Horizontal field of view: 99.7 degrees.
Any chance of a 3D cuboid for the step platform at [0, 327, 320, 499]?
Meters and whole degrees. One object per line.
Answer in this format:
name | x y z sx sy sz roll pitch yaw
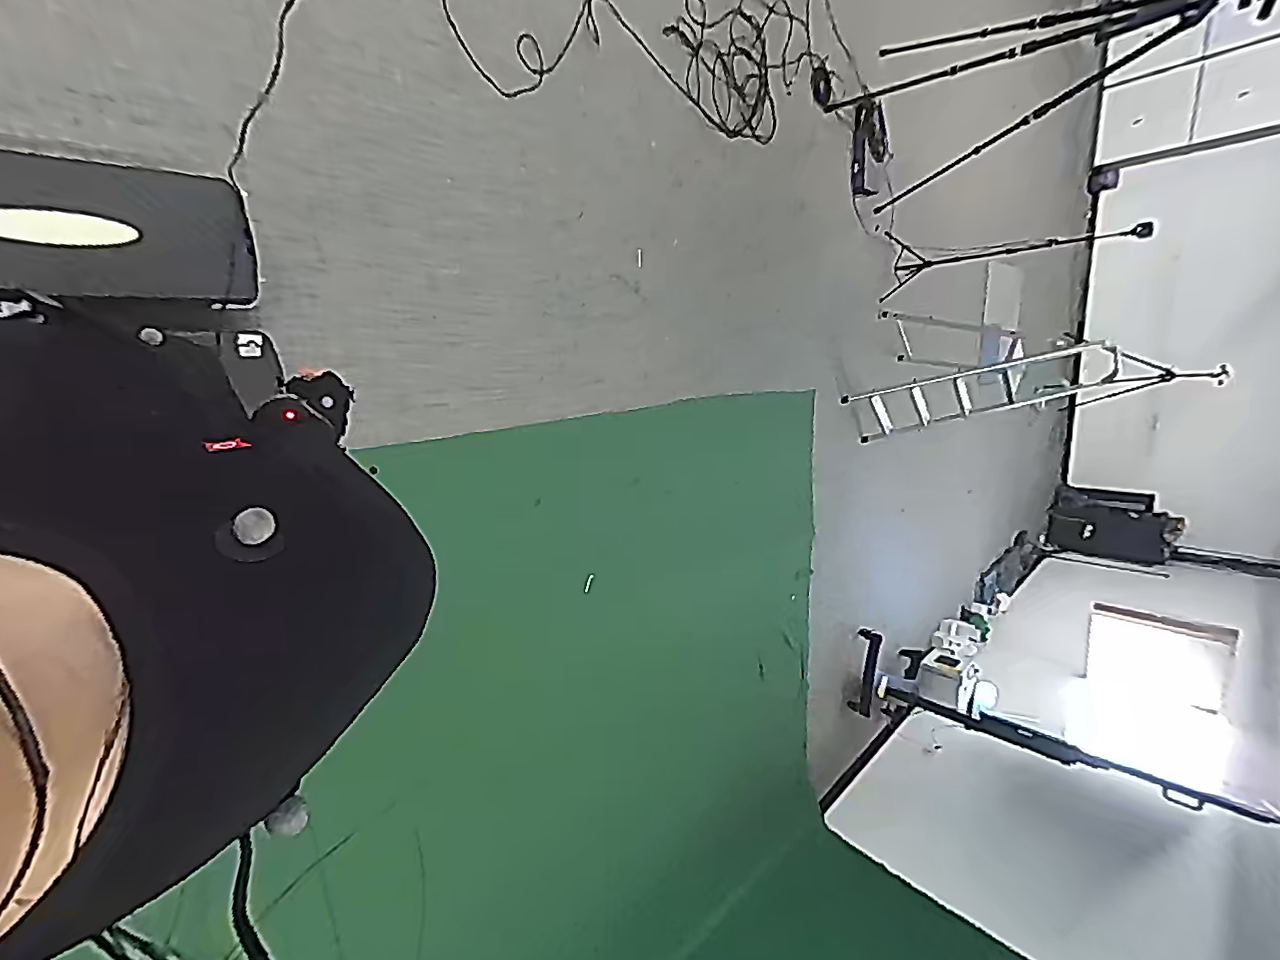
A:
step platform | -1.004 -0.126 0.997 0.684 0.204 0.286 -15 107 -42
